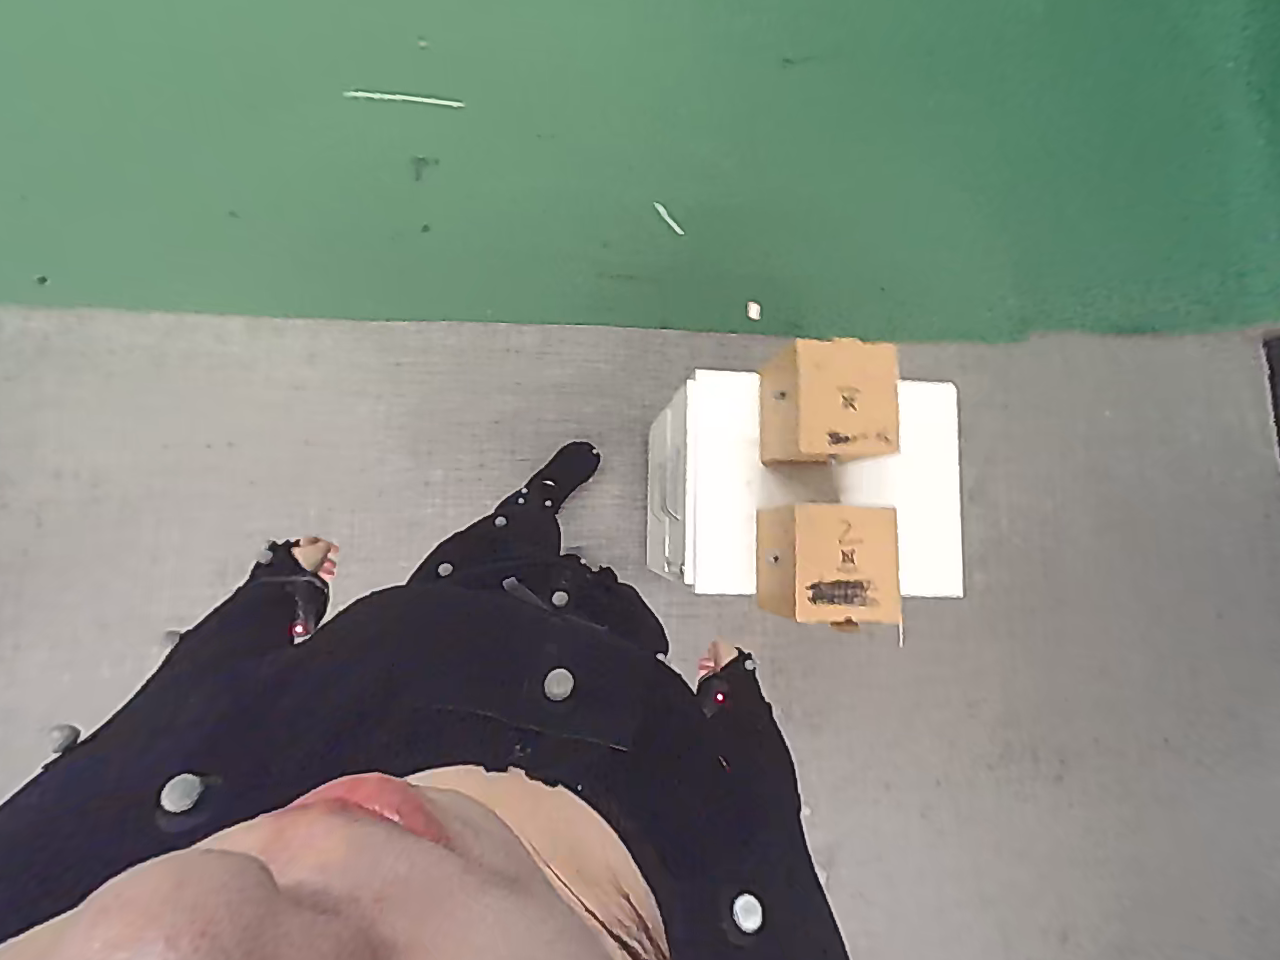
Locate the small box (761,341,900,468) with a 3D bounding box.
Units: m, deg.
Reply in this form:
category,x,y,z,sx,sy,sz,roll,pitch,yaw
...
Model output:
category,x,y,z,sx,sy,sz,roll,pitch,yaw
small box,0.309,-0.117,0.906,0.168,0.176,0.179,1,86,-7
